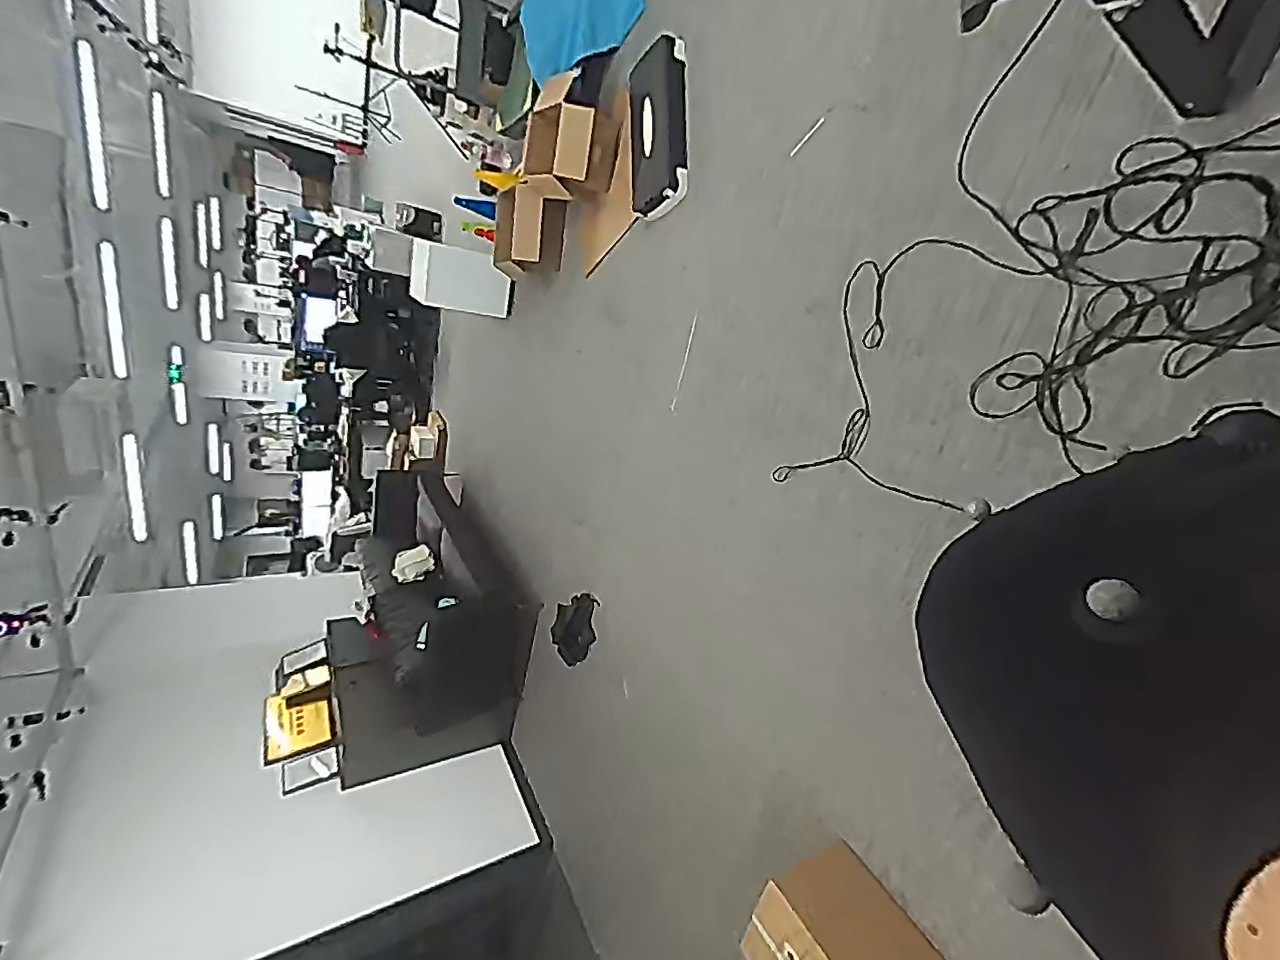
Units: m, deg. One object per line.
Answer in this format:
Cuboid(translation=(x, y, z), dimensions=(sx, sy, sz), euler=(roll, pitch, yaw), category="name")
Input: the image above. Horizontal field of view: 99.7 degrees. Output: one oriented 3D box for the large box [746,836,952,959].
Cuboid(translation=(0.567, 1.301, 1.473), dimensions=(0.408, 0.320, 0.320), euler=(41, 123, 50), category="large box")
